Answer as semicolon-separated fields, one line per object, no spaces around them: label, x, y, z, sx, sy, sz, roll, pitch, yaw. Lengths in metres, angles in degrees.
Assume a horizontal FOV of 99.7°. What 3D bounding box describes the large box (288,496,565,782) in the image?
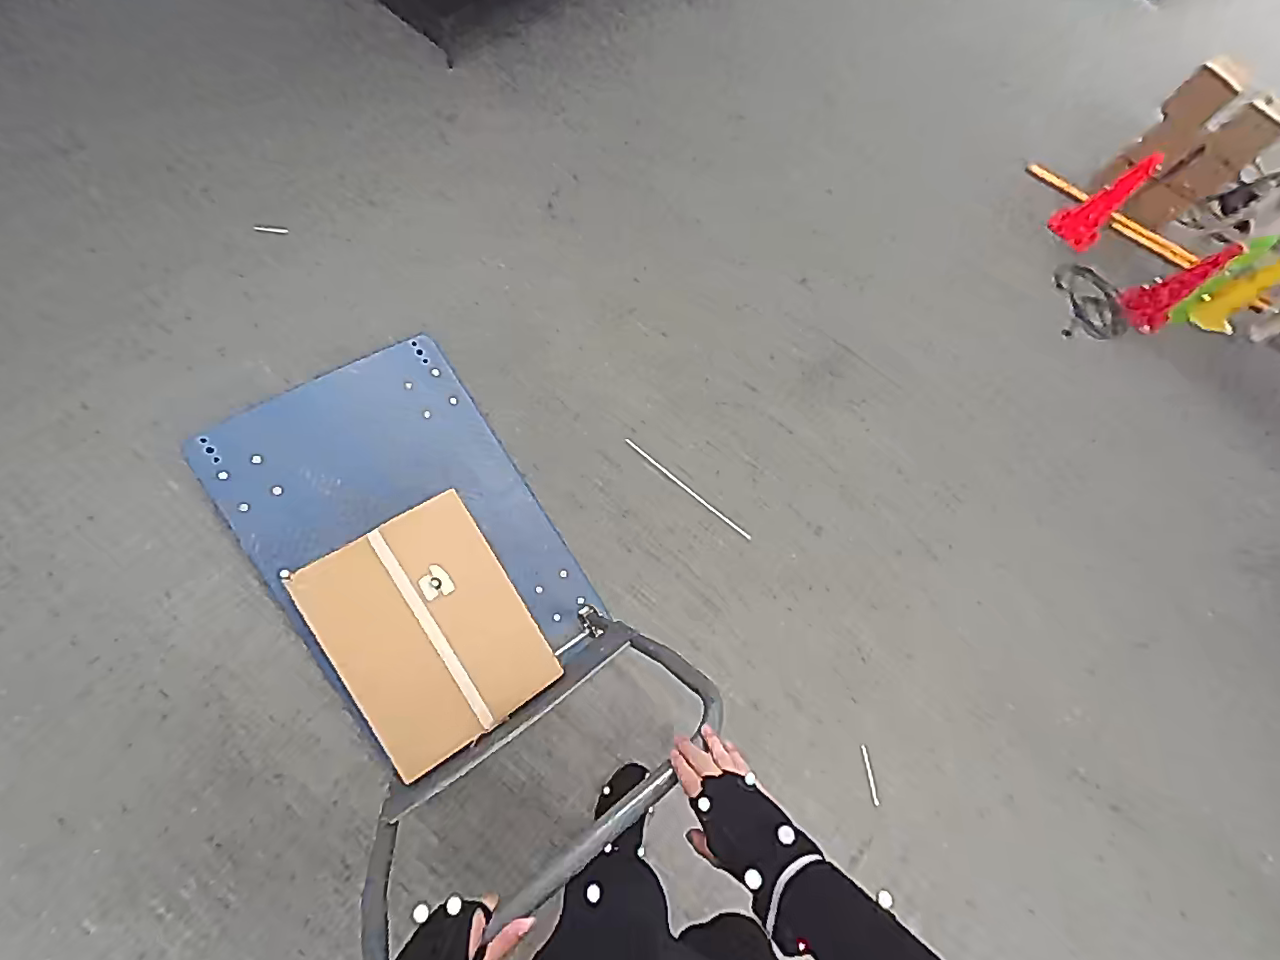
large box;-0.403;0.294;1.092;0.320;0.320;0.408;-32;90;-20
